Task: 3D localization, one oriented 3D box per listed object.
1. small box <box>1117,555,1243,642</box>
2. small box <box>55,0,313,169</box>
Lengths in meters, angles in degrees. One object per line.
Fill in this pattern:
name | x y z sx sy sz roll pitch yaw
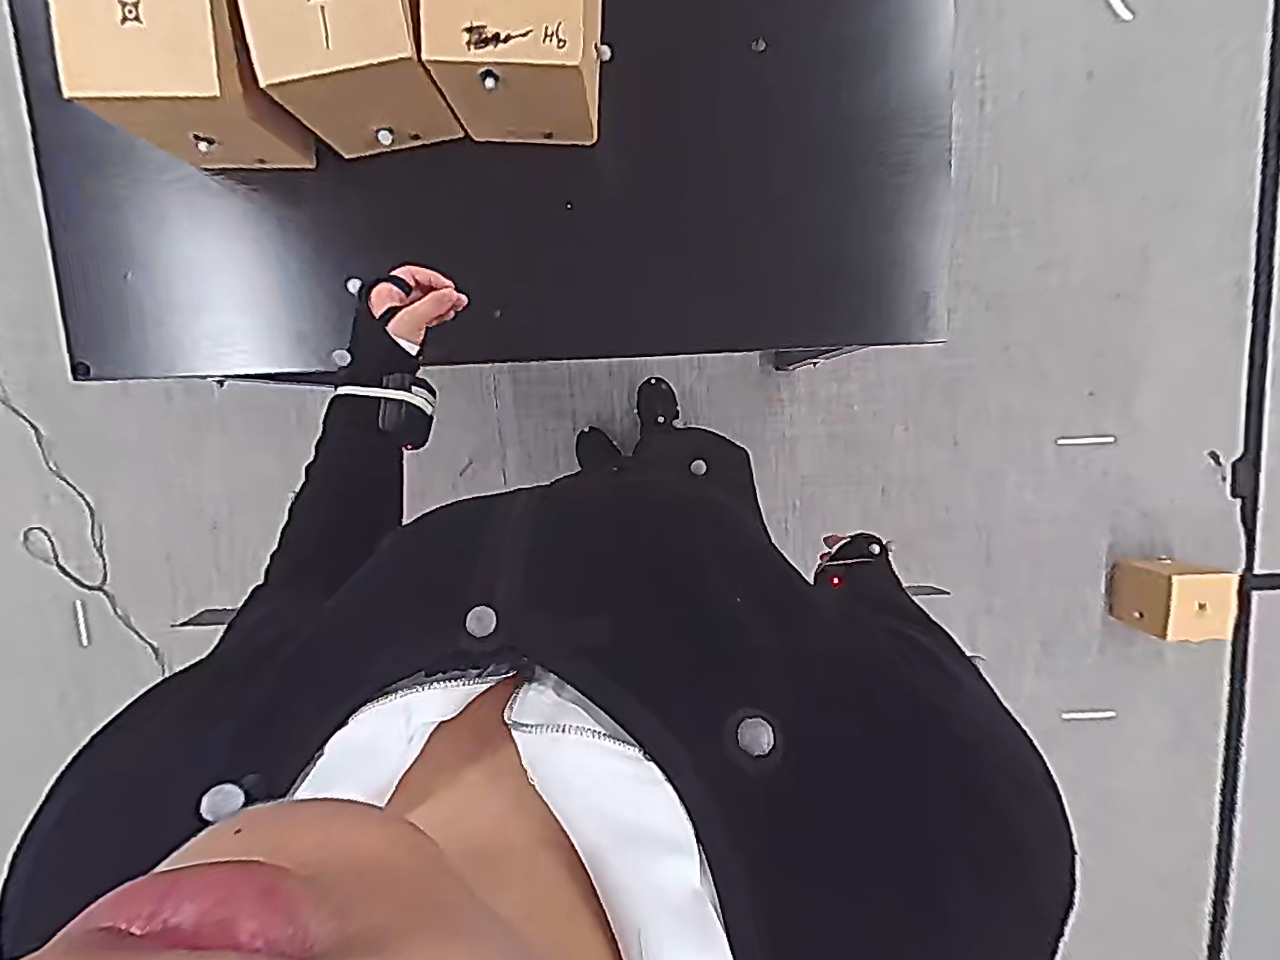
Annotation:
small box | 1.409 0.307 1.422 0.168 0.176 0.179 -3 96 1
small box | -0.510 -0.486 0.629 0.168 0.176 0.179 0 96 0
